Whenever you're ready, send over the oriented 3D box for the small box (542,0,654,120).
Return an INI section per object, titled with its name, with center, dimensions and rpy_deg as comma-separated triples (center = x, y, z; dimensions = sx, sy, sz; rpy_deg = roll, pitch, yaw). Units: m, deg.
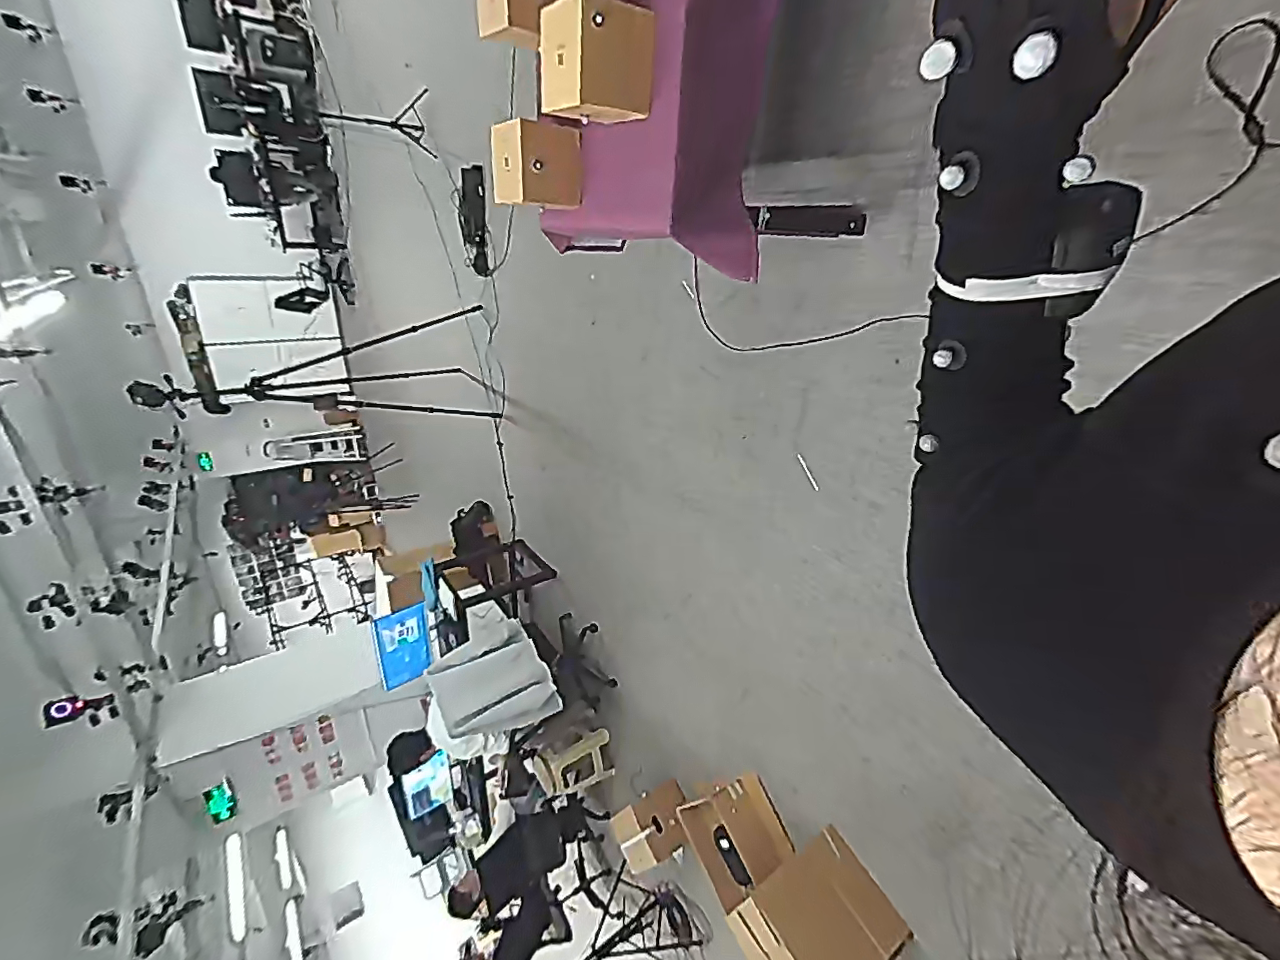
[small box]
center = -0.087, -0.847, 1.098
dimensions = 0.168, 0.176, 0.179
rpy_deg = 33, 127, 45
